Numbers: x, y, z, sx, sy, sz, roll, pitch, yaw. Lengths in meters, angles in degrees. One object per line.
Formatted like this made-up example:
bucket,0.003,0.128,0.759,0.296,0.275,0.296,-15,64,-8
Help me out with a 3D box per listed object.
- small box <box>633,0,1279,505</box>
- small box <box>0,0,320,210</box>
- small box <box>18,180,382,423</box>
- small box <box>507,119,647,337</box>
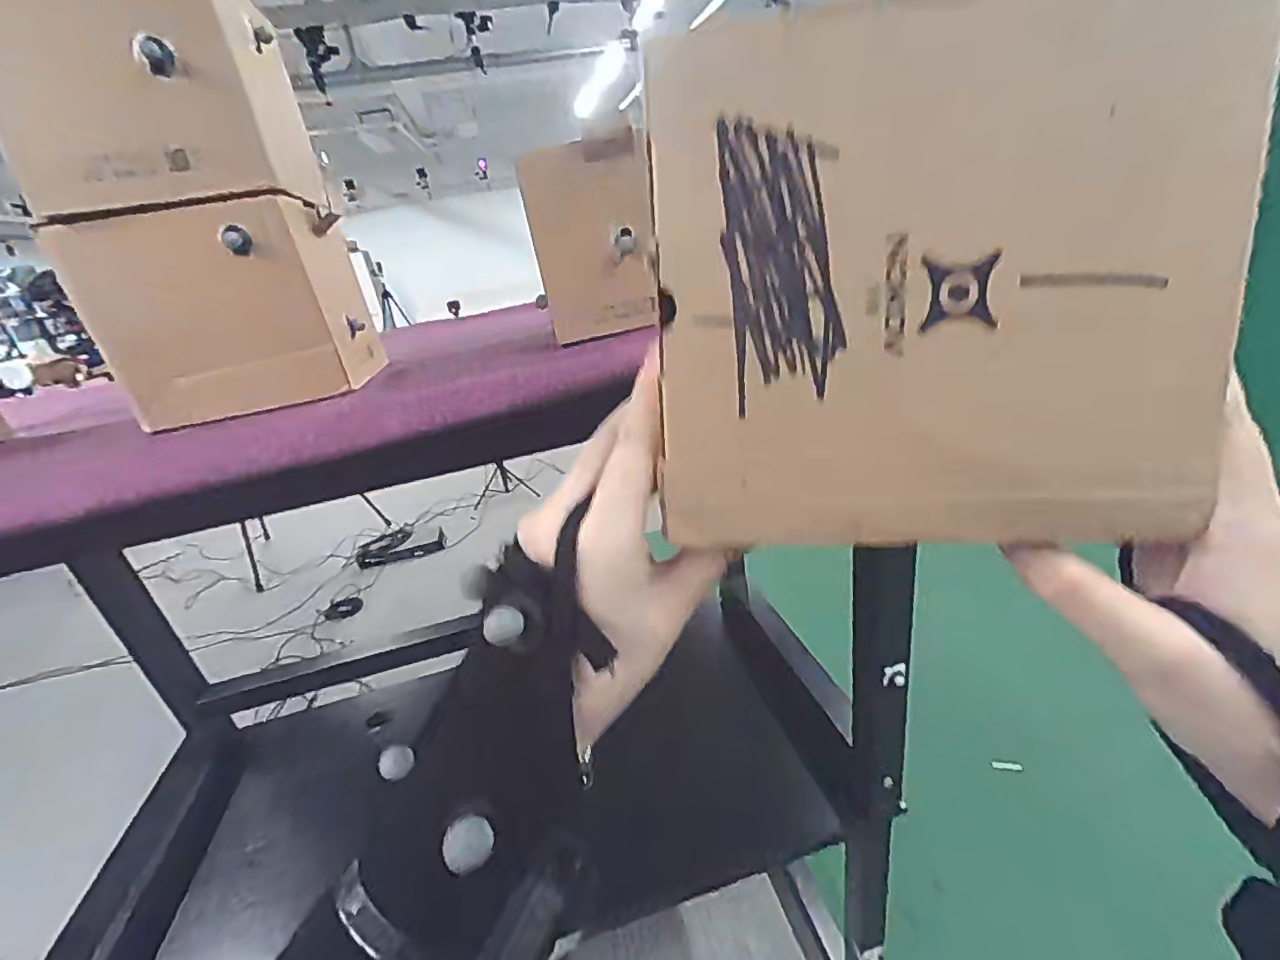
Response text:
small box,0.097,-0.088,0.238,0.179,0.168,0.176,-2,12,7
small box,-0.391,-0.309,0.439,0.168,0.176,0.179,-13,23,-12
small box,-0.371,-0.161,0.504,0.179,0.176,0.168,-14,24,-9
small box,-0.026,-0.253,0.560,0.168,0.176,0.179,-12,23,-2
